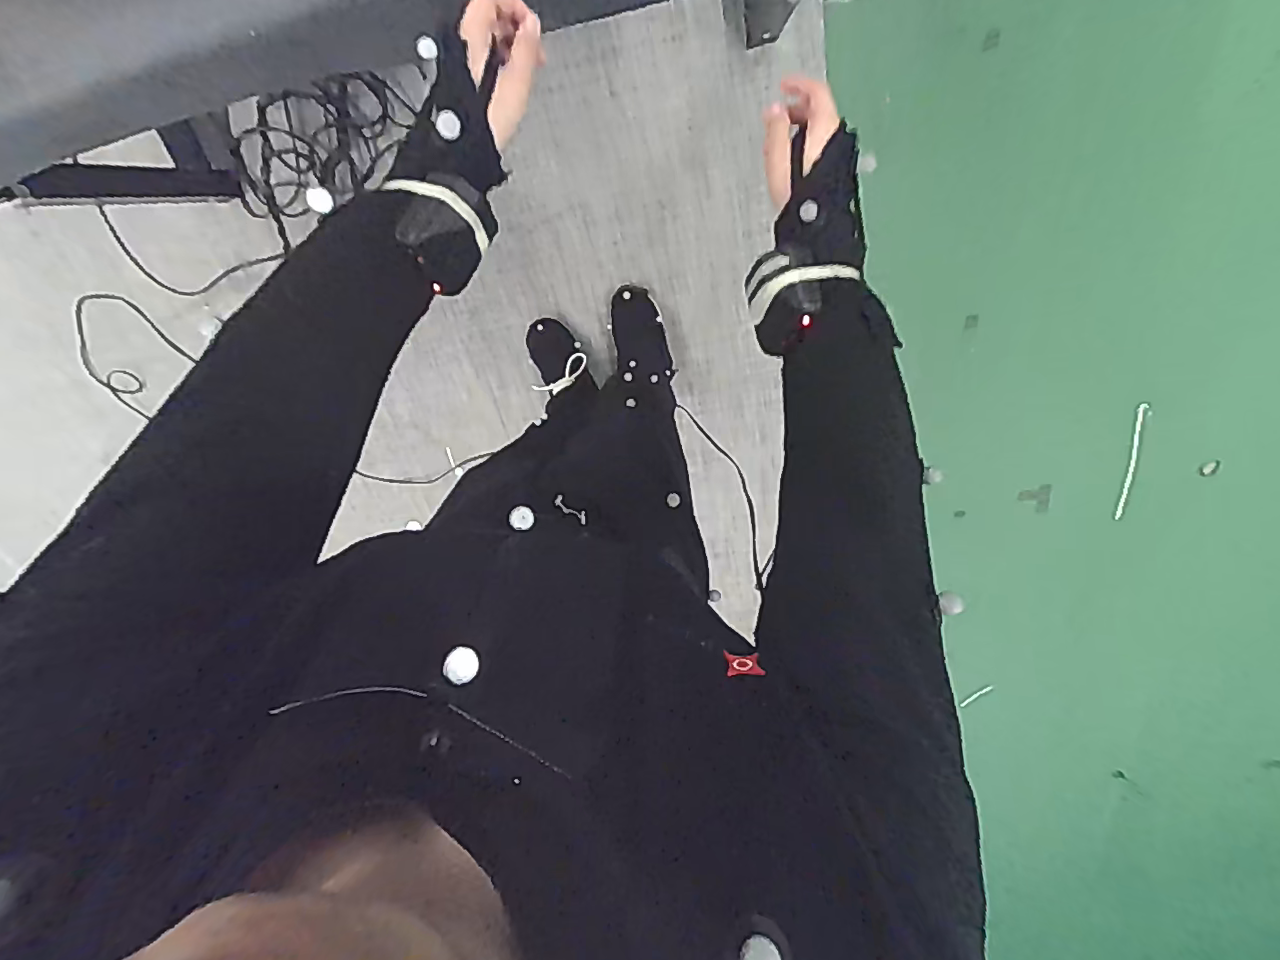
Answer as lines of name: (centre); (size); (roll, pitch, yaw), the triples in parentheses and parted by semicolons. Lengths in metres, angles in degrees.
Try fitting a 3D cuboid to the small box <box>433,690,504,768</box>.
small box: (-0.565, 0.825, 1.799); (0.179, 0.176, 0.168); (5, 119, 1)
